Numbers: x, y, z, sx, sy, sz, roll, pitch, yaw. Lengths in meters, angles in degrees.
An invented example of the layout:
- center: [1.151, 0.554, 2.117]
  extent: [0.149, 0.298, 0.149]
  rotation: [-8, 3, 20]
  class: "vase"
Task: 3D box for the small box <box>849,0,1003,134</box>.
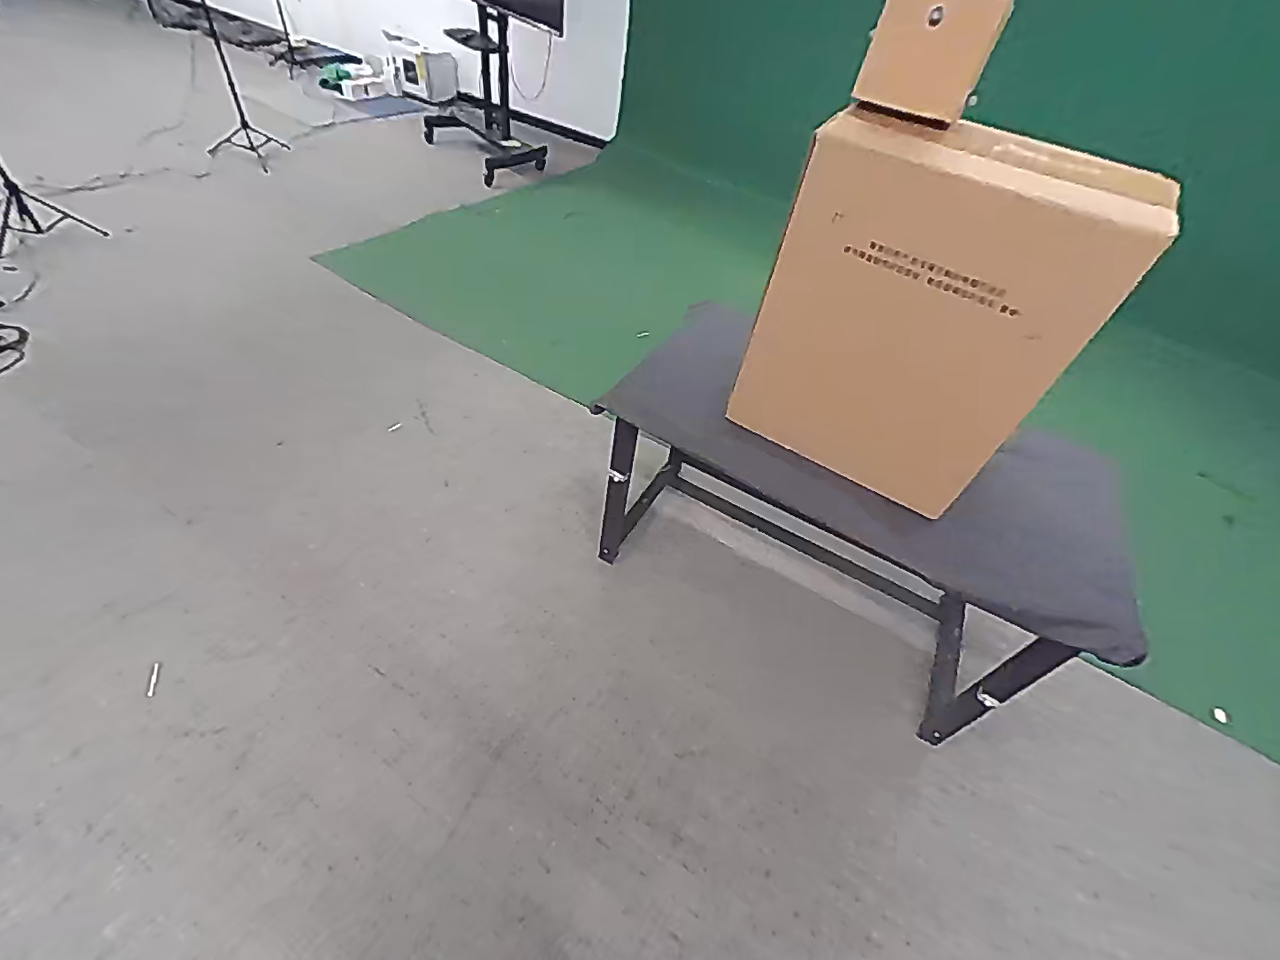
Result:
- center: [0.488, -0.720, 0.936]
  extent: [0.179, 0.176, 0.168]
  rotation: [29, 42, 14]
  class: "small box"
